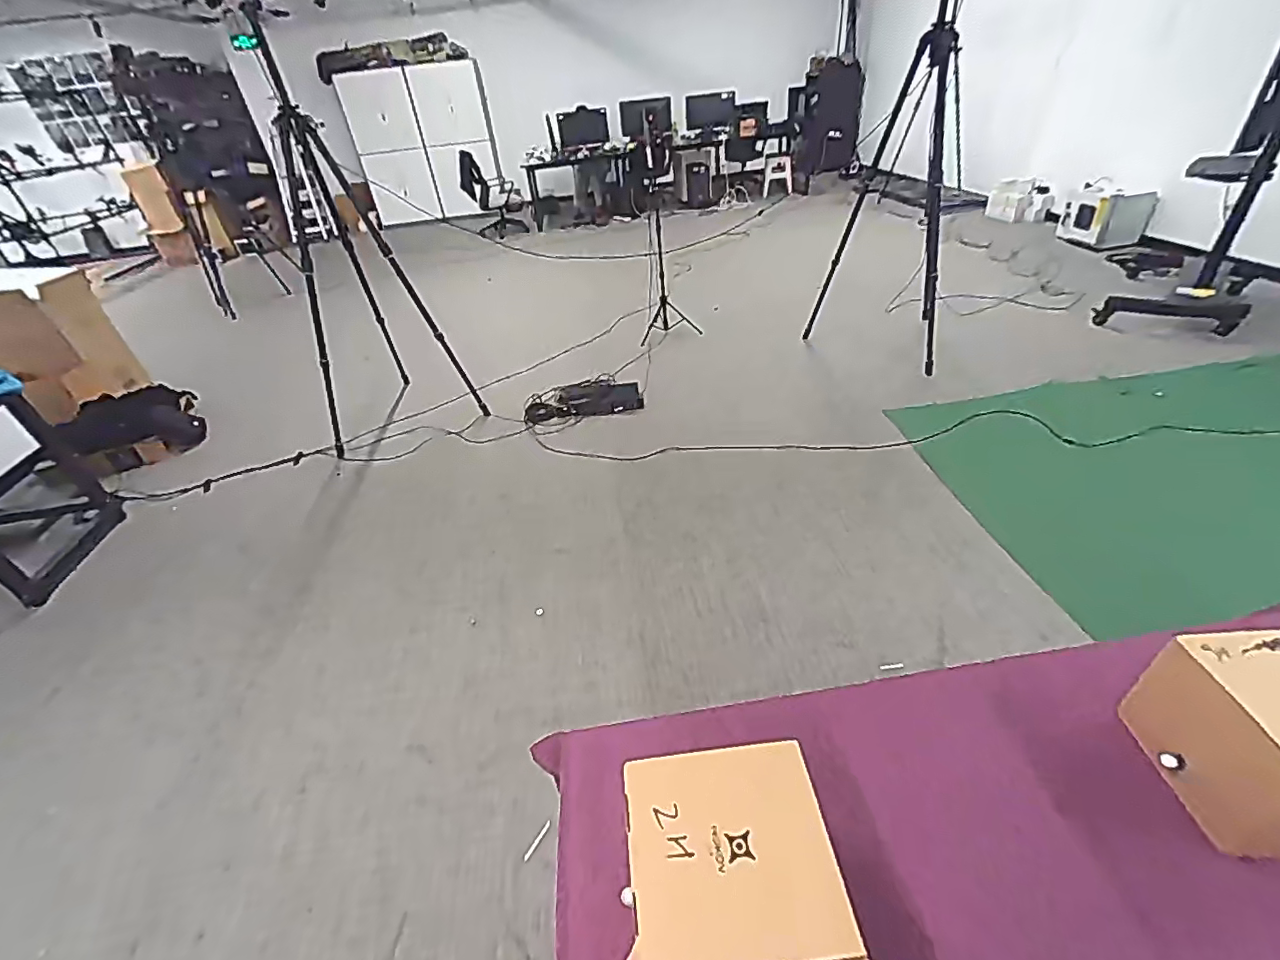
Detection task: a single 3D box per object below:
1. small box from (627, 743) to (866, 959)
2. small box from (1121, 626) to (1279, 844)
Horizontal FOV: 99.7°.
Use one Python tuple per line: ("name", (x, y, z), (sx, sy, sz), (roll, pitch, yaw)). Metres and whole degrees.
("small box", (0.085, 0.379, 0.515), (0.179, 0.176, 0.168), (-7, 38, -1))
("small box", (0.712, 0.288, 0.608), (0.168, 0.176, 0.179), (-4, 37, 4))
